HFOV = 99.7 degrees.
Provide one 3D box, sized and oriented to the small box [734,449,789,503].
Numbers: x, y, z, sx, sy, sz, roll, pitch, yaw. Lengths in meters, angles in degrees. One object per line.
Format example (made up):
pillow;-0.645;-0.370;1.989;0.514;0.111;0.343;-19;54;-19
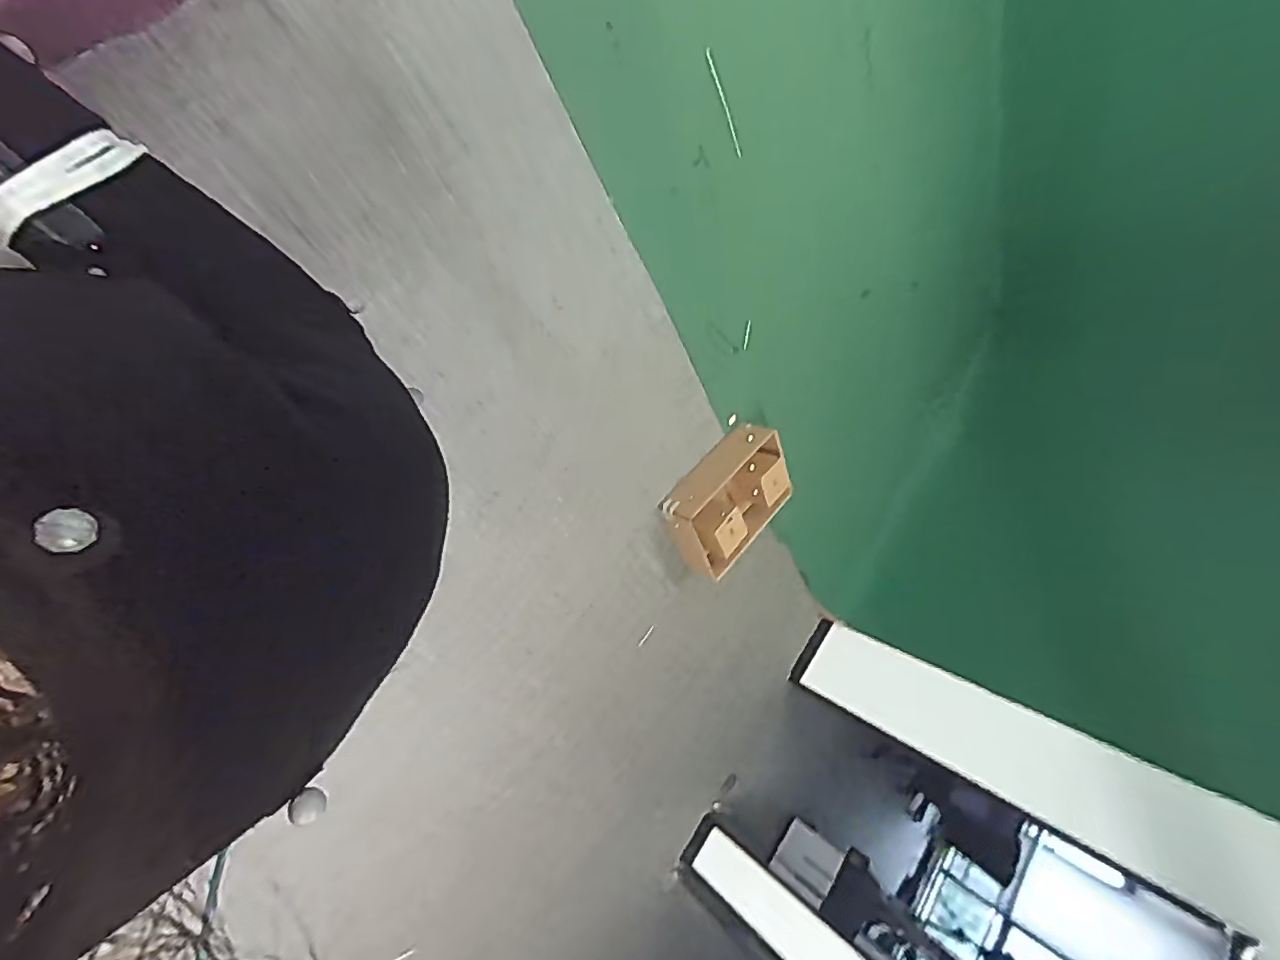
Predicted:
small box;0.552;-0.028;2.475;0.168;0.176;0.179;-42;128;-24
